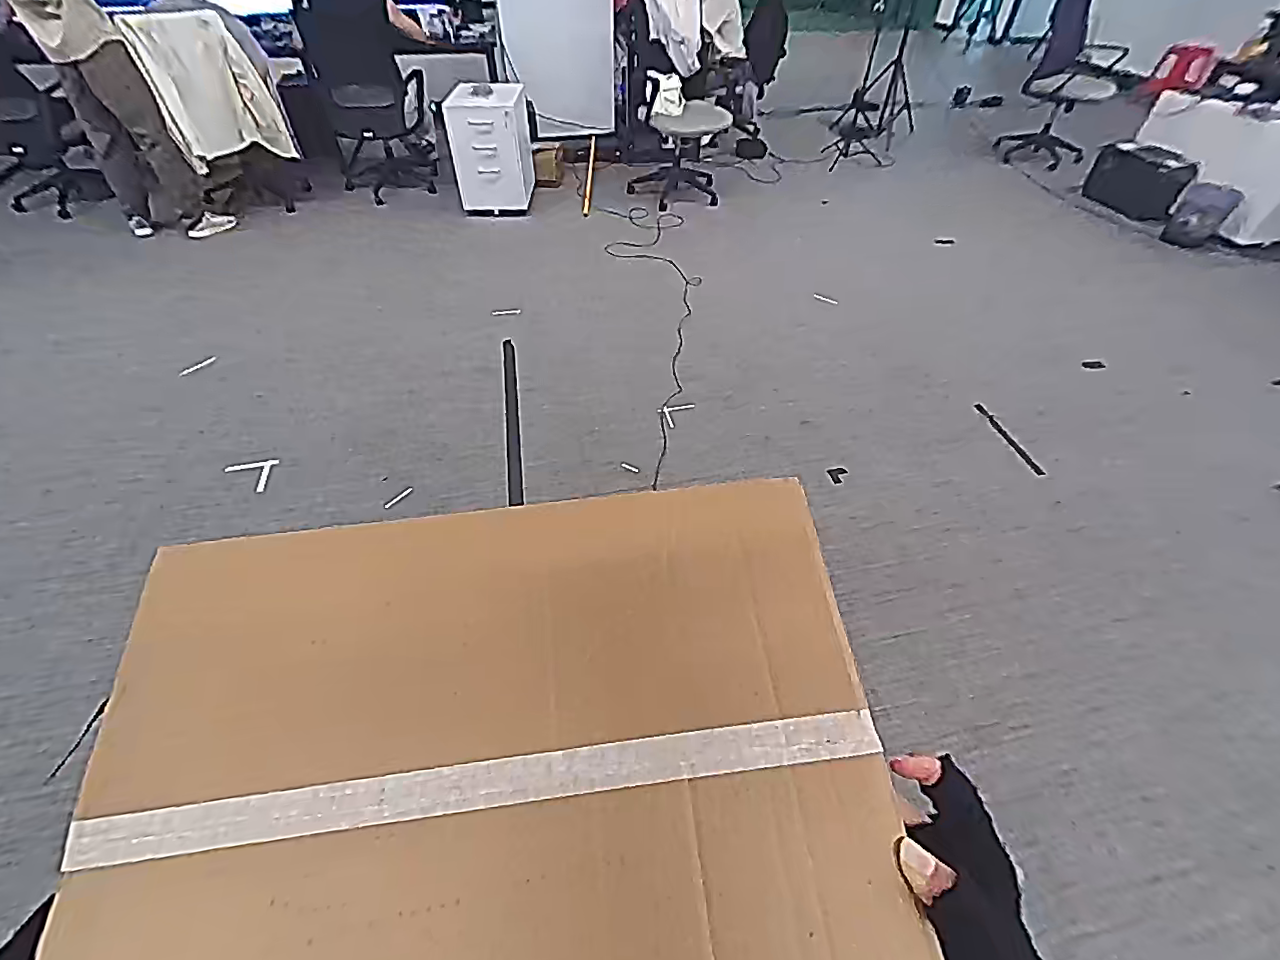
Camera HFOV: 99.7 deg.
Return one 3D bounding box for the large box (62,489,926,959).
[{"bbox_3d":[-0.077,0.234,0.415,0.408,0.320,0.320,-6,63,-3],"label":"large box"}]
